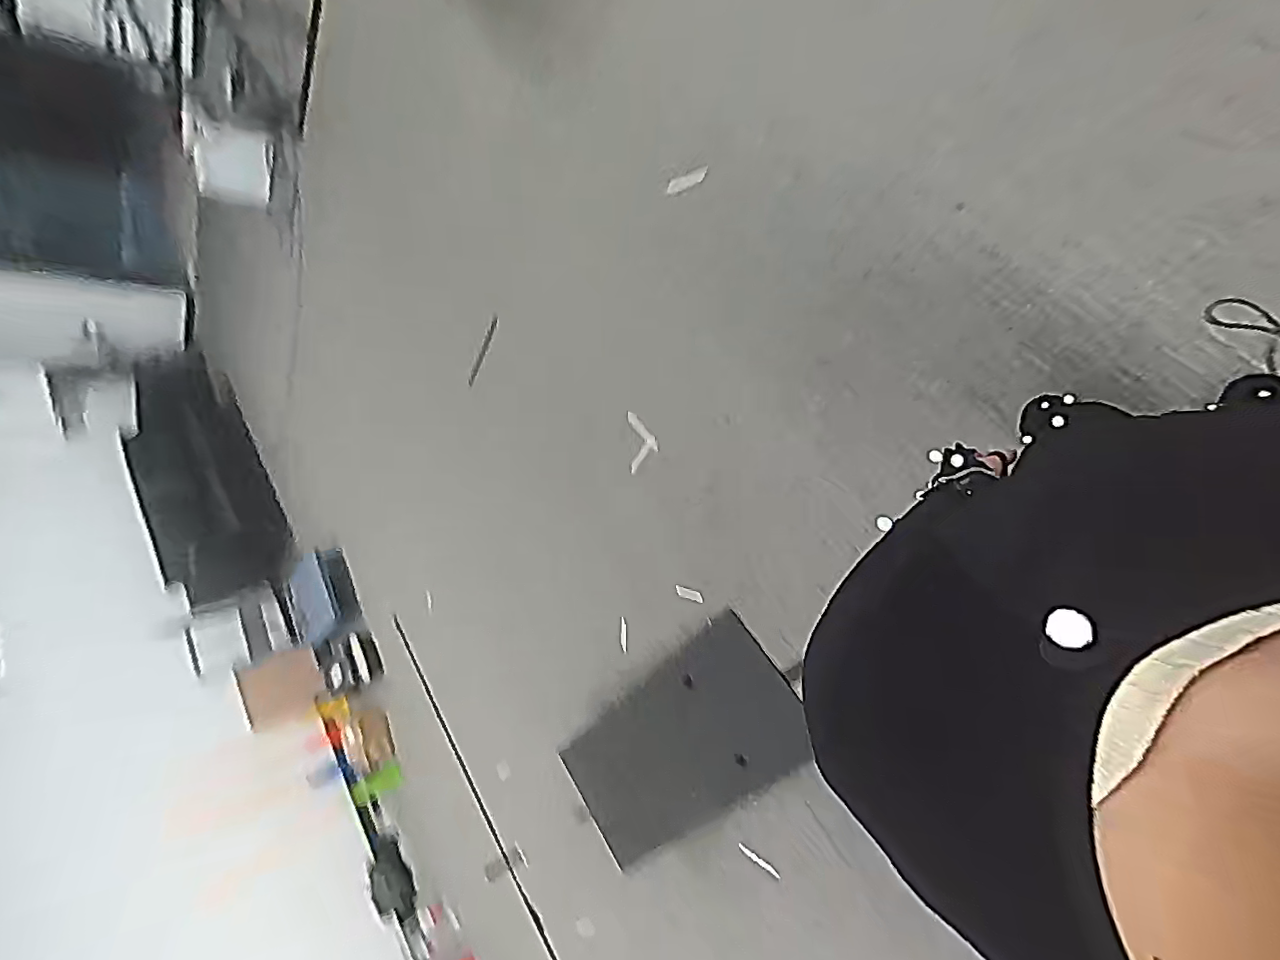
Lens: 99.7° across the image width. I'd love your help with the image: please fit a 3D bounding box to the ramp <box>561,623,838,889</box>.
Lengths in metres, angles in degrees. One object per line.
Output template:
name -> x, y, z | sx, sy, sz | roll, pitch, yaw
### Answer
ramp -> 0.130, 0.954, 1.830 | 0.509, 0.206, 0.991 | 53, 126, 25
